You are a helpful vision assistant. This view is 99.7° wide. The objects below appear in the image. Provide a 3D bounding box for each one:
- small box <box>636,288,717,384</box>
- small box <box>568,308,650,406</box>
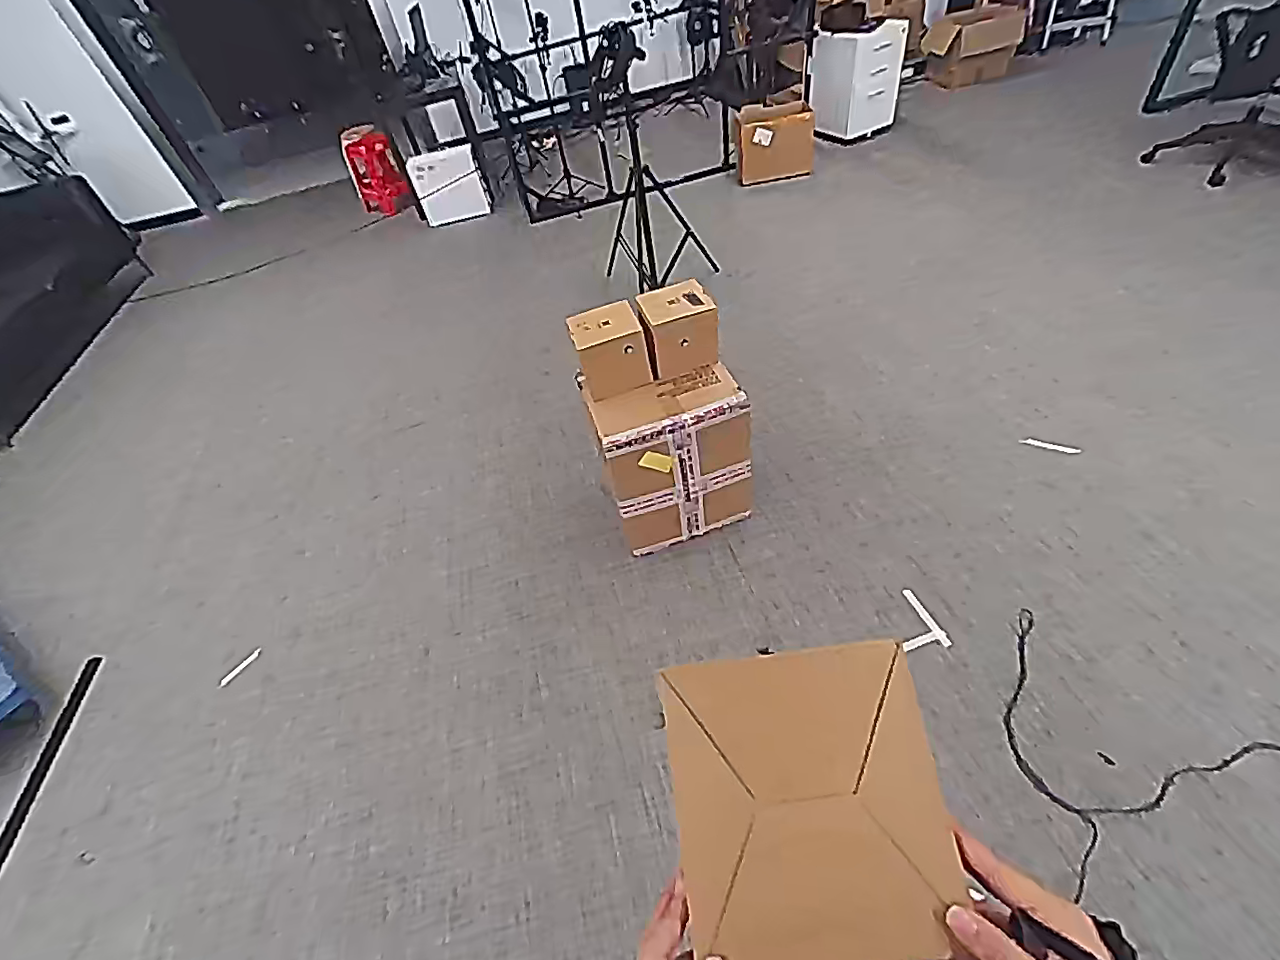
[{"bbox_3d":[0.101,-0.392,1.476,0.179,0.176,0.168,-18,47,-5],"label":"small box"},{"bbox_3d":[-0.079,-0.330,1.458,0.179,0.176,0.168,-19,47,-2],"label":"small box"}]
